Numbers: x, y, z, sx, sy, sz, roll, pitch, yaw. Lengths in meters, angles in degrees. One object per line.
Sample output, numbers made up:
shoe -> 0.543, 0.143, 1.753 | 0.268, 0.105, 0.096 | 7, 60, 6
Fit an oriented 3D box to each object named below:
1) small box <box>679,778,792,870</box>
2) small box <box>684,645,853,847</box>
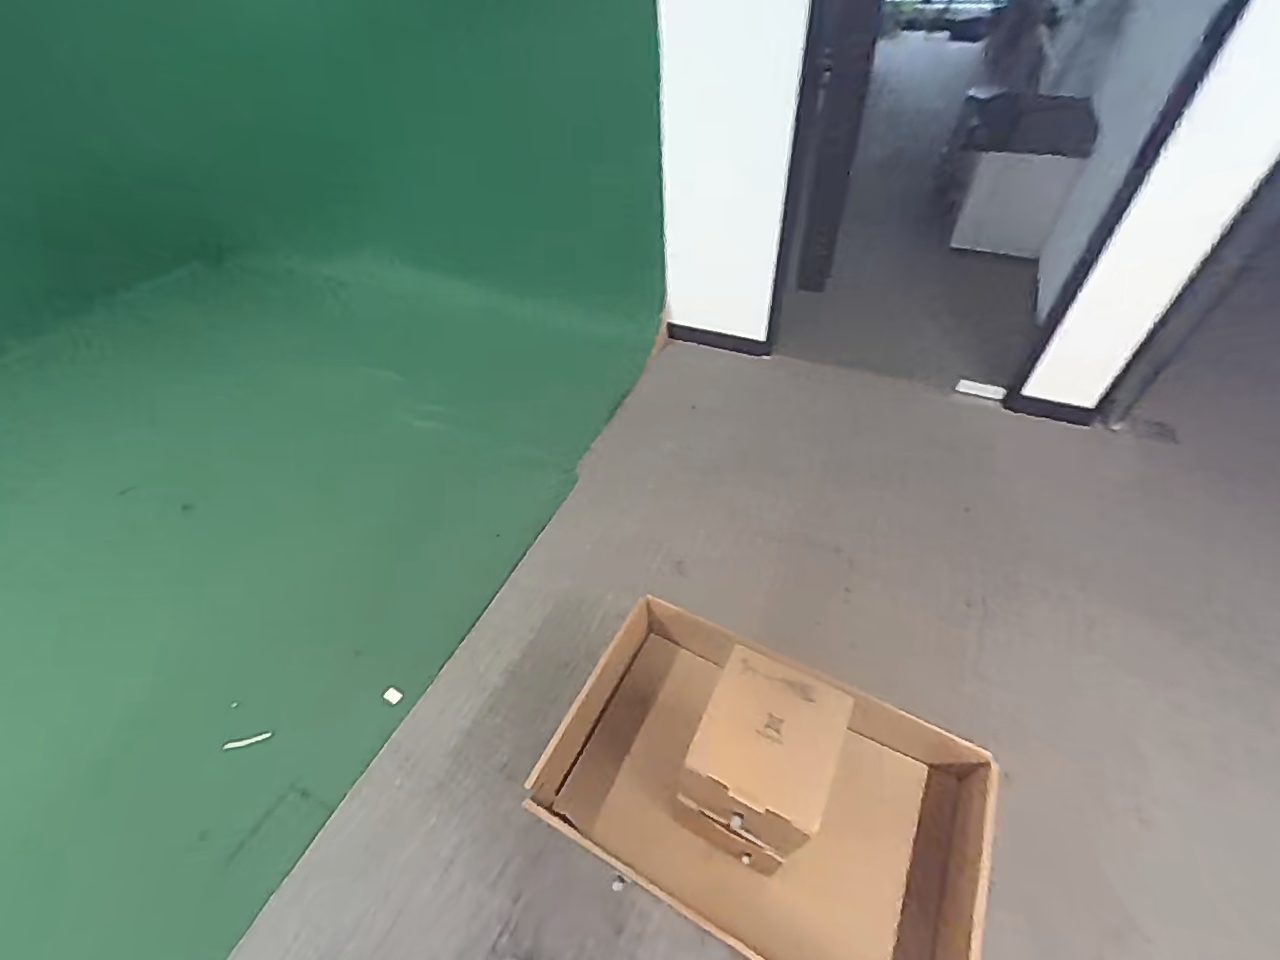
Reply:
small box -> 0.170, 0.480, 0.859 | 0.168, 0.176, 0.179 | 20, 51, 19
small box -> 0.170, 0.367, 0.741 | 0.168, 0.176, 0.179 | 21, 54, 19
